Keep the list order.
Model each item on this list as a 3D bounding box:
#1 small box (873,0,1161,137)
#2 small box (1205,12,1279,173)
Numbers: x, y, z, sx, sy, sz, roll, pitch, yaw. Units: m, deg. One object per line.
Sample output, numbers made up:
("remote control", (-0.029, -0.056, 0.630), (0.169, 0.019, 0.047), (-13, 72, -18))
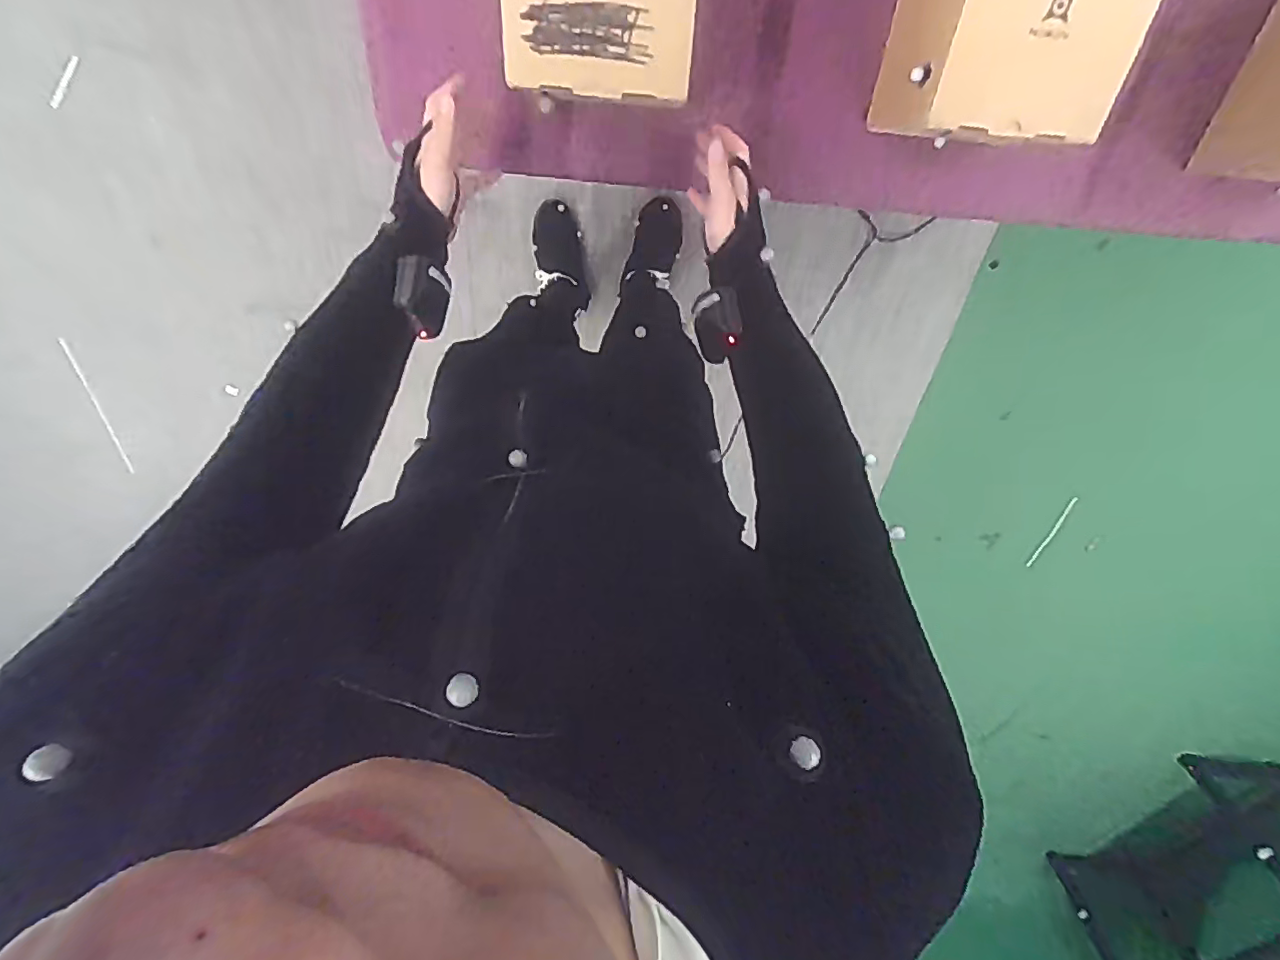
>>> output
("small box", (0.349, -0.439, 0.516), (0.168, 0.176, 0.179), (4, 124, -2))
("small box", (0.739, -0.398, 0.529), (0.168, 0.176, 0.179), (5, 125, 0))
